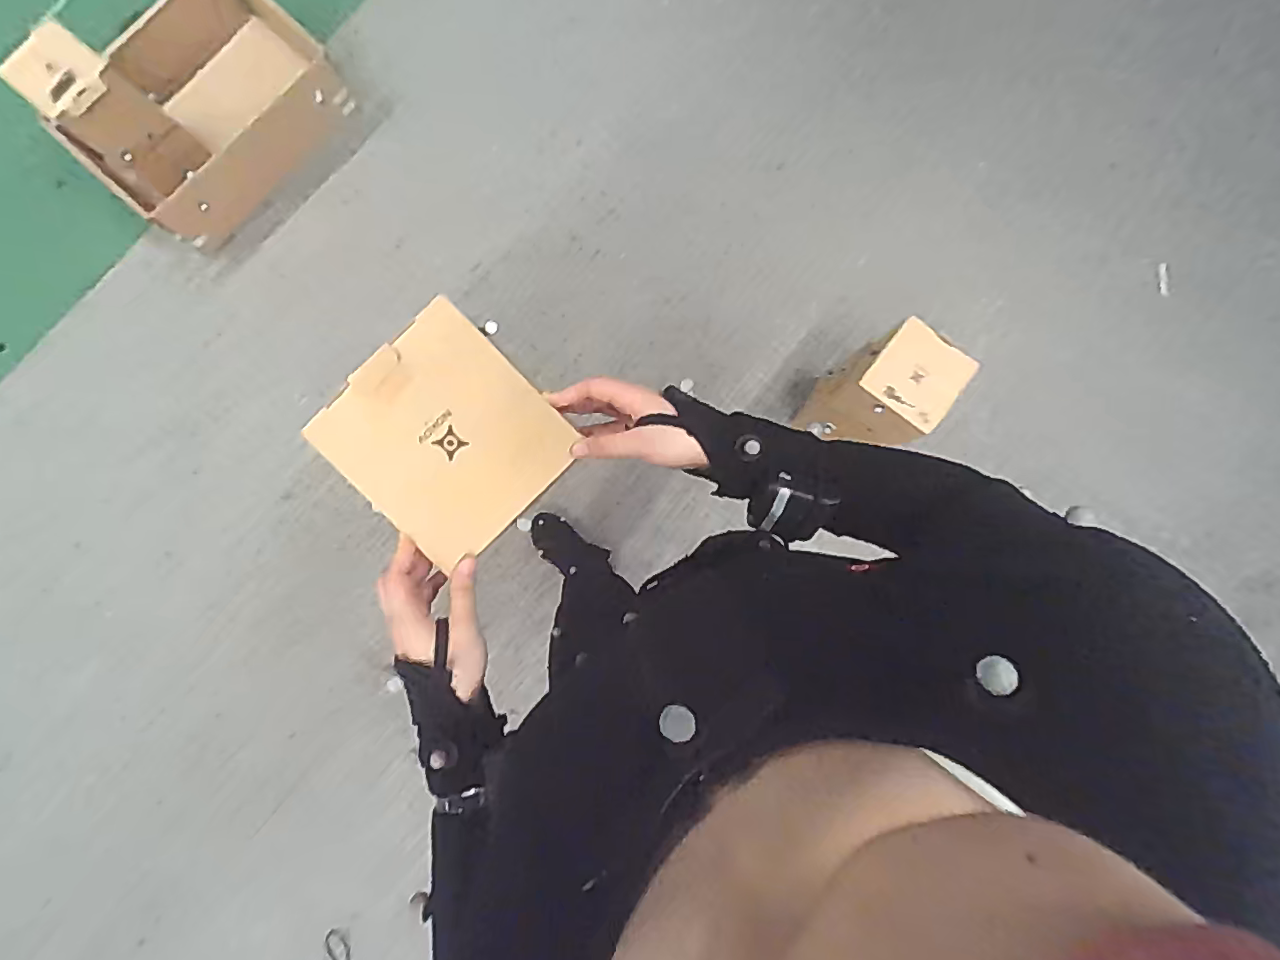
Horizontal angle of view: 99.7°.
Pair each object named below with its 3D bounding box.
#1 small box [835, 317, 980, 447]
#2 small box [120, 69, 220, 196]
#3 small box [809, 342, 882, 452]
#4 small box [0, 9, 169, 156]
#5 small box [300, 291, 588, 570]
[{"bbox_3d":[0.531,-0.190,1.103,0.168,0.176,0.179,38,85,2],"label":"small box"},{"bbox_3d":[-1.242,-0.872,1.375,0.179,0.176,0.168,40,86,1],"label":"small box"},{"bbox_3d":[0.526,-0.186,1.267,0.168,0.176,0.179,38,87,2],"label":"small box"},{"bbox_3d":[-1.232,-0.872,1.211,0.179,0.176,0.168,41,85,2],"label":"small box"},{"bbox_3d":[-0.164,-0.045,0.524,0.168,0.176,0.179,-44,94,0],"label":"small box"}]
